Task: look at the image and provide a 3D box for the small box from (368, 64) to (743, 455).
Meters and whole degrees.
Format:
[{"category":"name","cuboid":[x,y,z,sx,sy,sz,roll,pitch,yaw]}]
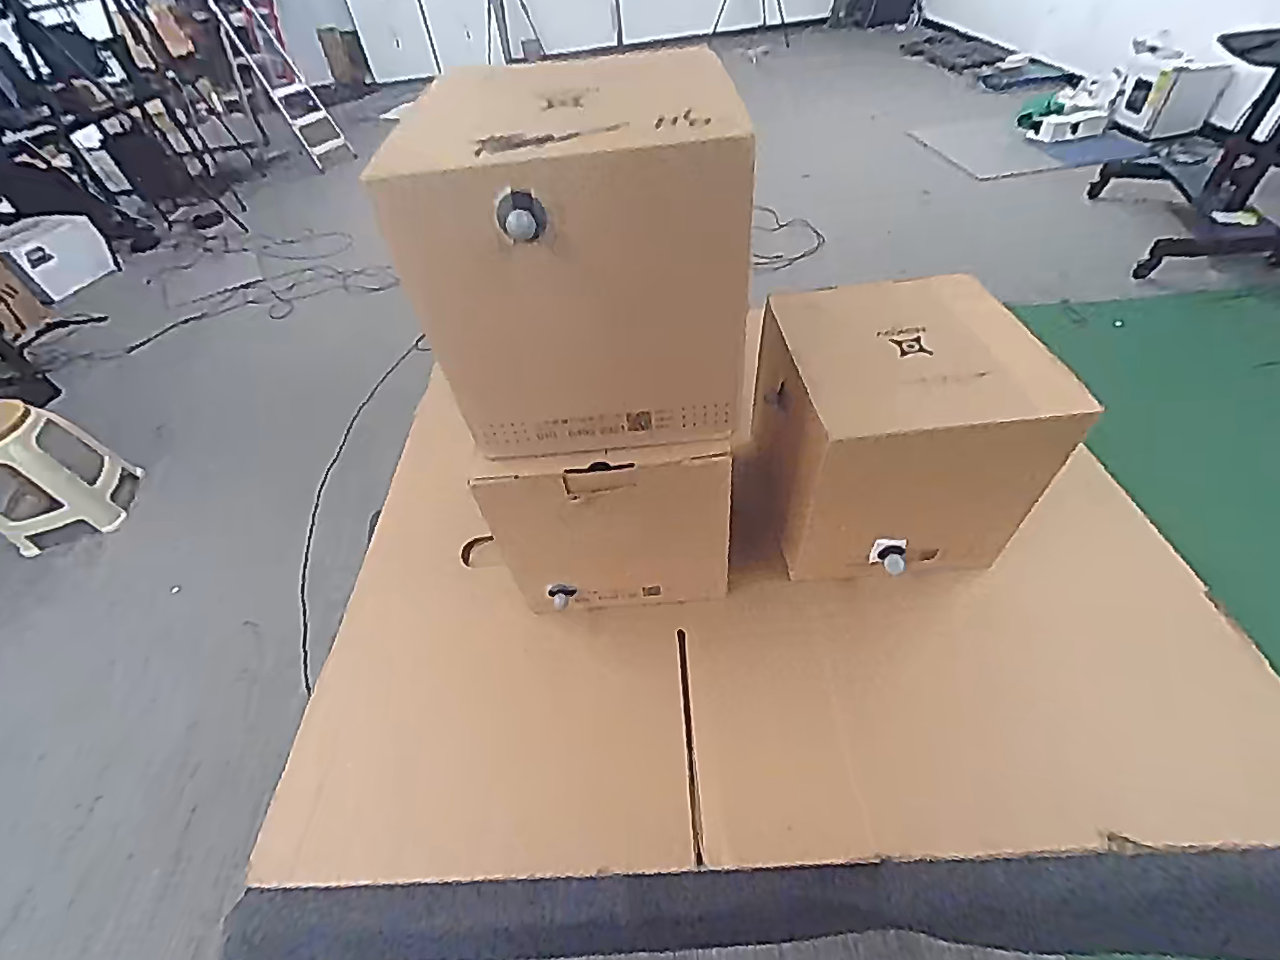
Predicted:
[{"category":"small box","cuboid":[-0.032,-0.137,0.344,0.168,0.176,0.179,-5,47,4]}]
